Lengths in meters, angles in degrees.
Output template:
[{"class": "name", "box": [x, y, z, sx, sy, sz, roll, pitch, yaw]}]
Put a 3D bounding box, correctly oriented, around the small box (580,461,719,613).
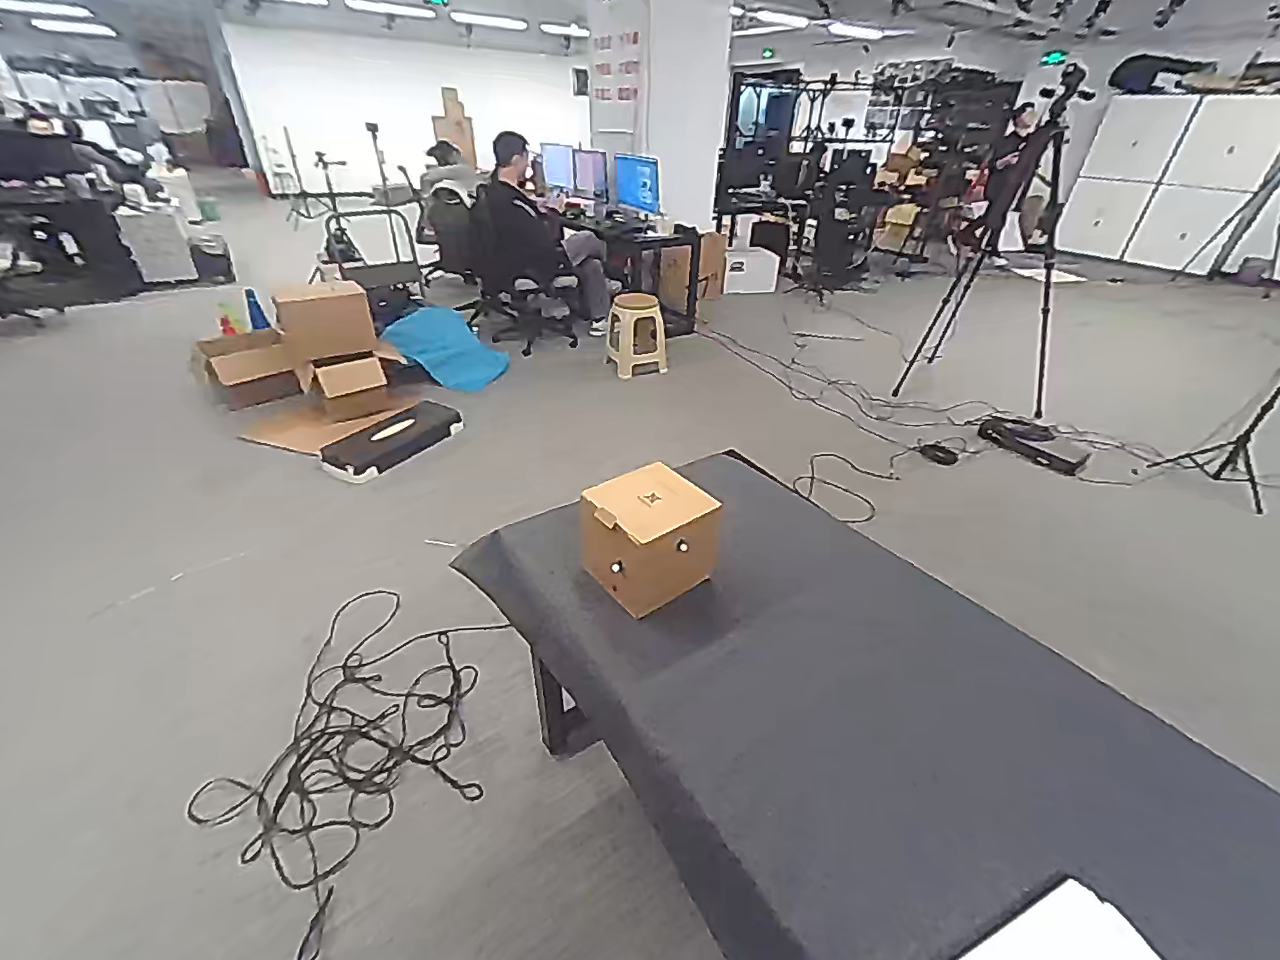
[{"class": "small box", "box": [0.013, 0.096, 0.935, 0.179, 0.176, 0.168, -22, 42, -33]}]
